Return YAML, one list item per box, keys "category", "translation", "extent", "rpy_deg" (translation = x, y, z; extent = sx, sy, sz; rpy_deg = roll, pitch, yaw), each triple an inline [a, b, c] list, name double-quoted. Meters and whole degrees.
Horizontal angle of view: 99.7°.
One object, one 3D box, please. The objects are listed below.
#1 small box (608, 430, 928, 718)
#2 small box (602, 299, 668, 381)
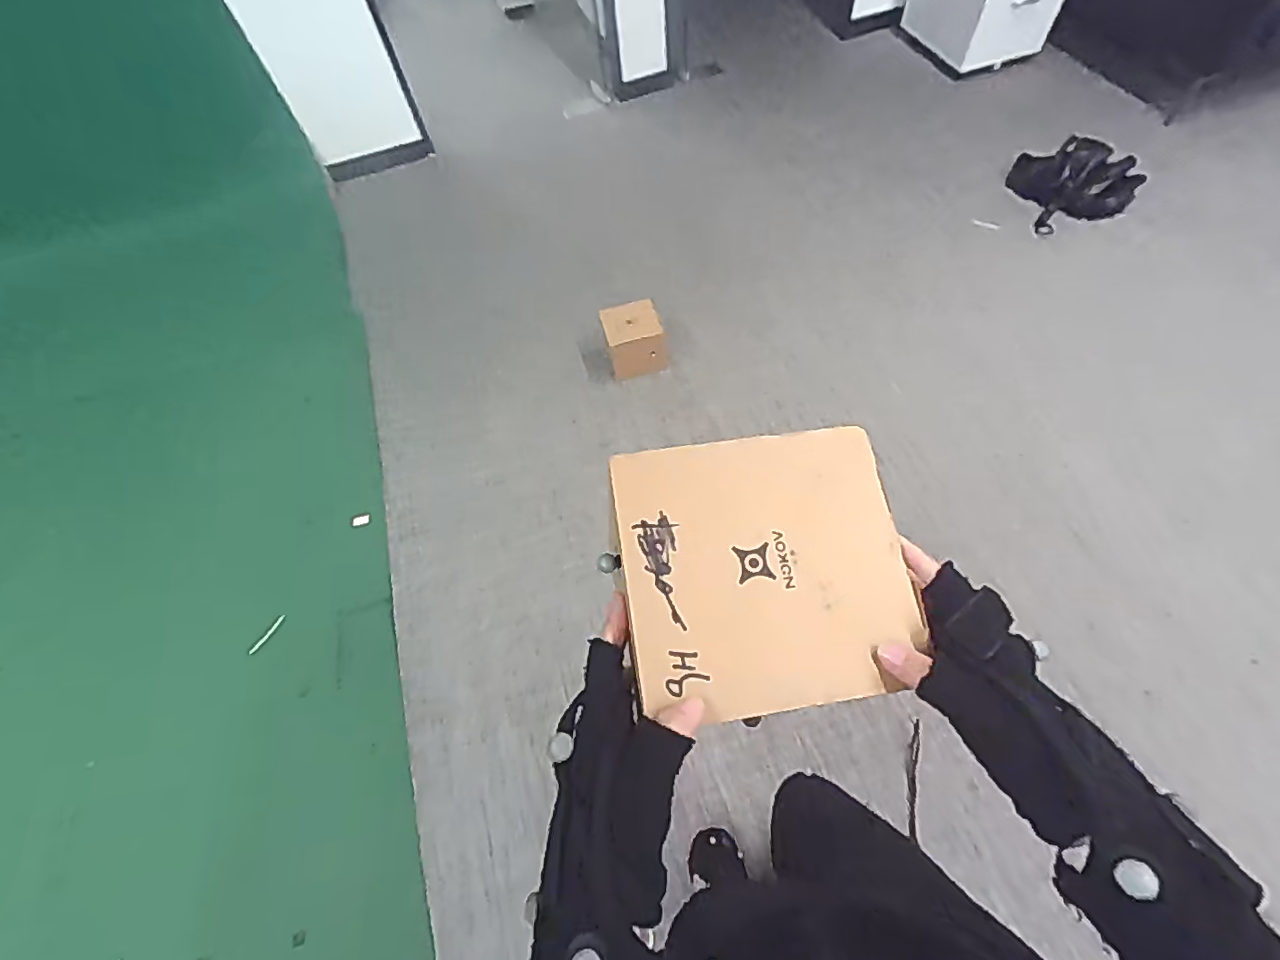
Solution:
- category: "small box"
  translation: [0.070, 0.076, 0.410]
  extent: [0.179, 0.176, 0.168]
  rpy_deg: [-6, 70, -6]
- category: "small box"
  translation: [-0.012, -0.453, 1.765]
  extent: [0.179, 0.176, 0.168]
  rpy_deg: [-17, 60, -2]
